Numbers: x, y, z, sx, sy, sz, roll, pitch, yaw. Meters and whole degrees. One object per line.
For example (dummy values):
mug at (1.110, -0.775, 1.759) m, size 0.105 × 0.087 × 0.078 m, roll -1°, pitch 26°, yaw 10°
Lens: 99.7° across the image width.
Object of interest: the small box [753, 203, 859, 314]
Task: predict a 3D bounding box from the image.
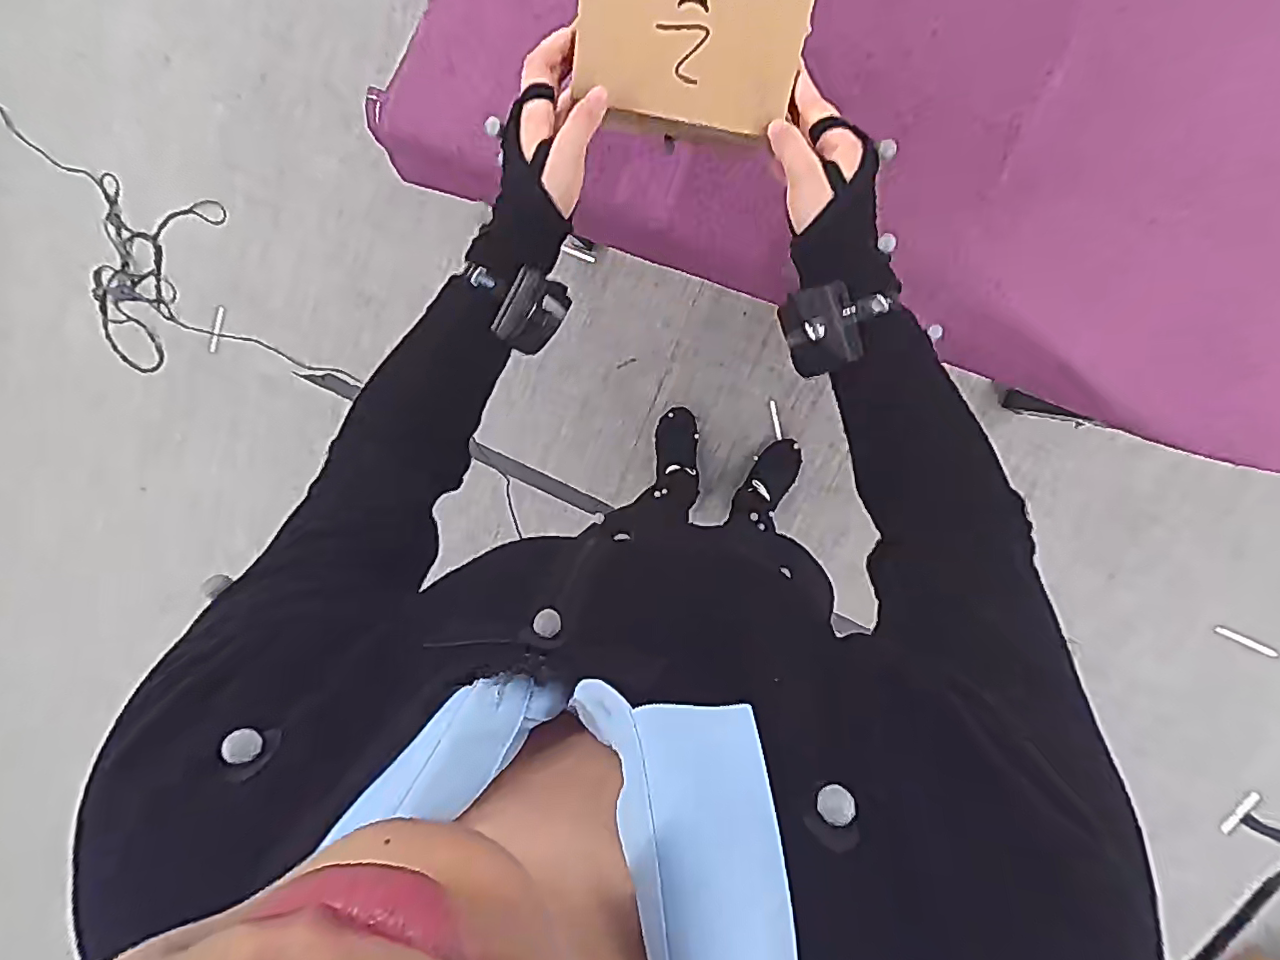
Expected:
small box at (0.371, -0.497, 1.244) m, size 0.168 × 0.176 × 0.179 m, roll 24°, pitch 104°, yaw 2°

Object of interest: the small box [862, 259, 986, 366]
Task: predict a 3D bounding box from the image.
small box at (0.632, -0.372, 1.234) m, size 0.168 × 0.176 × 0.179 m, roll 27°, pitch 104°, yaw 2°
